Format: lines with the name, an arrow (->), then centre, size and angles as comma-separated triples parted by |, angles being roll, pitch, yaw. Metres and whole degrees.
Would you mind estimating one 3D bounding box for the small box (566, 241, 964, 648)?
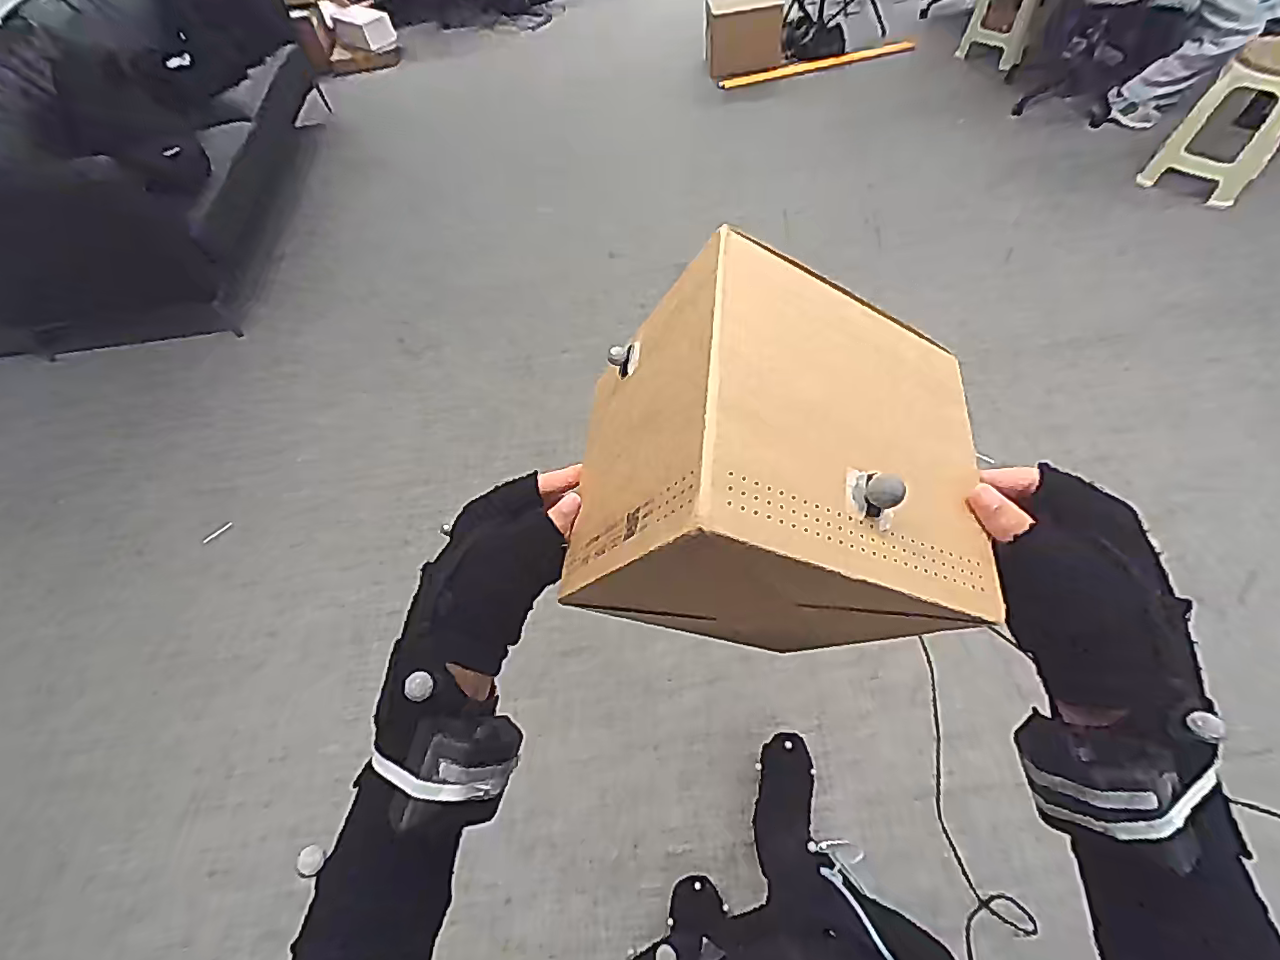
small box -> 0.071, 0.001, 0.339 | 0.179, 0.168, 0.176 | 19, 61, -20
